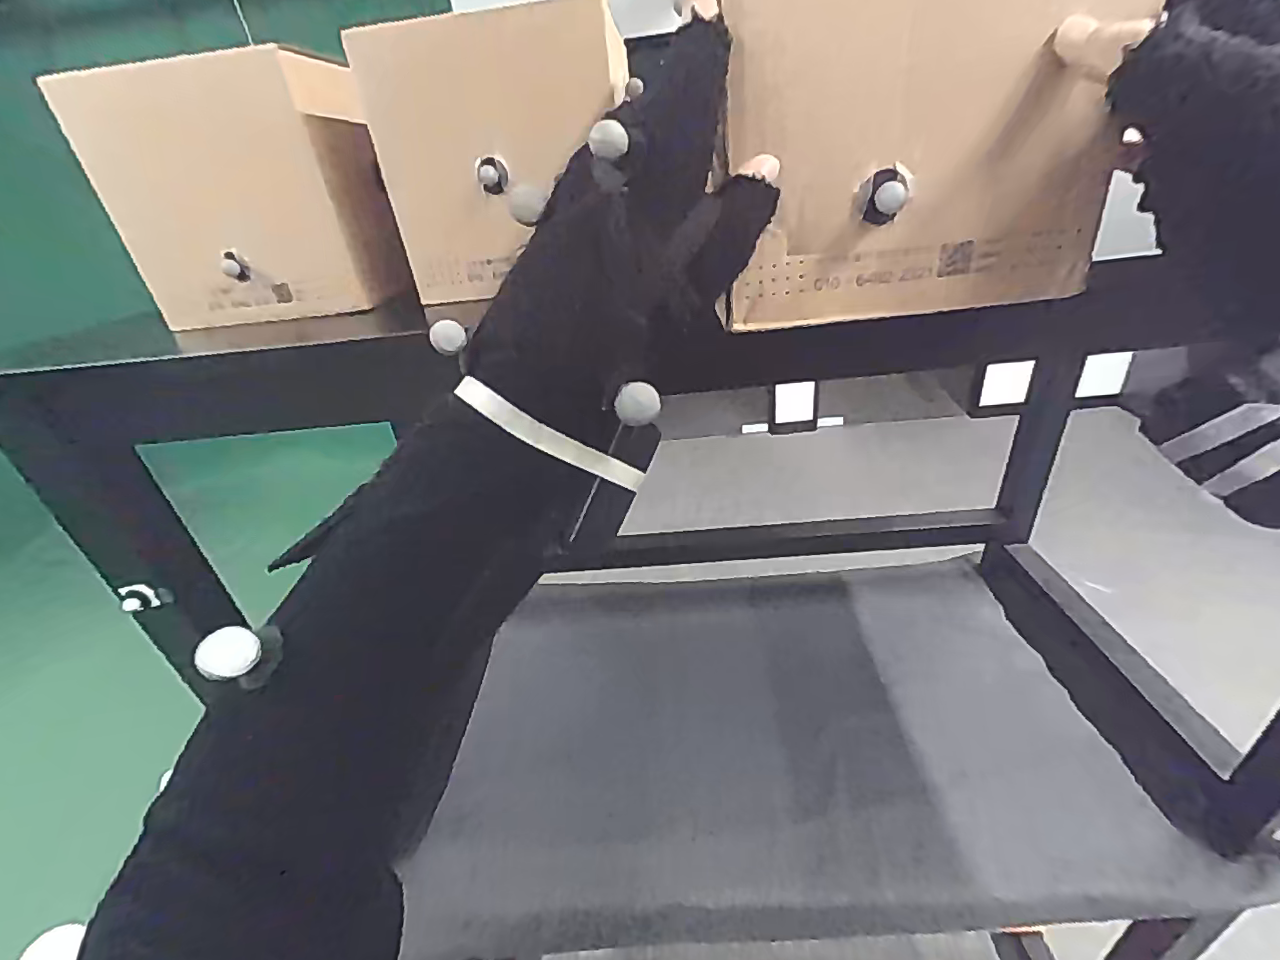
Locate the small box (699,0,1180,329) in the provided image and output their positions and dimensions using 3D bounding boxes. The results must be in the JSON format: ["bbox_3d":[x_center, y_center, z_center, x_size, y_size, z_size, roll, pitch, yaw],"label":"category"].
[{"bbox_3d":[0.120,-0.189,0.289,0.168,0.176,0.179,-5,31,3],"label":"small box"}]

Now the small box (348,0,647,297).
[{"bbox_3d":[-0.085,-0.247,0.431,0.168,0.176,0.179,-3,30,5],"label":"small box"}]
